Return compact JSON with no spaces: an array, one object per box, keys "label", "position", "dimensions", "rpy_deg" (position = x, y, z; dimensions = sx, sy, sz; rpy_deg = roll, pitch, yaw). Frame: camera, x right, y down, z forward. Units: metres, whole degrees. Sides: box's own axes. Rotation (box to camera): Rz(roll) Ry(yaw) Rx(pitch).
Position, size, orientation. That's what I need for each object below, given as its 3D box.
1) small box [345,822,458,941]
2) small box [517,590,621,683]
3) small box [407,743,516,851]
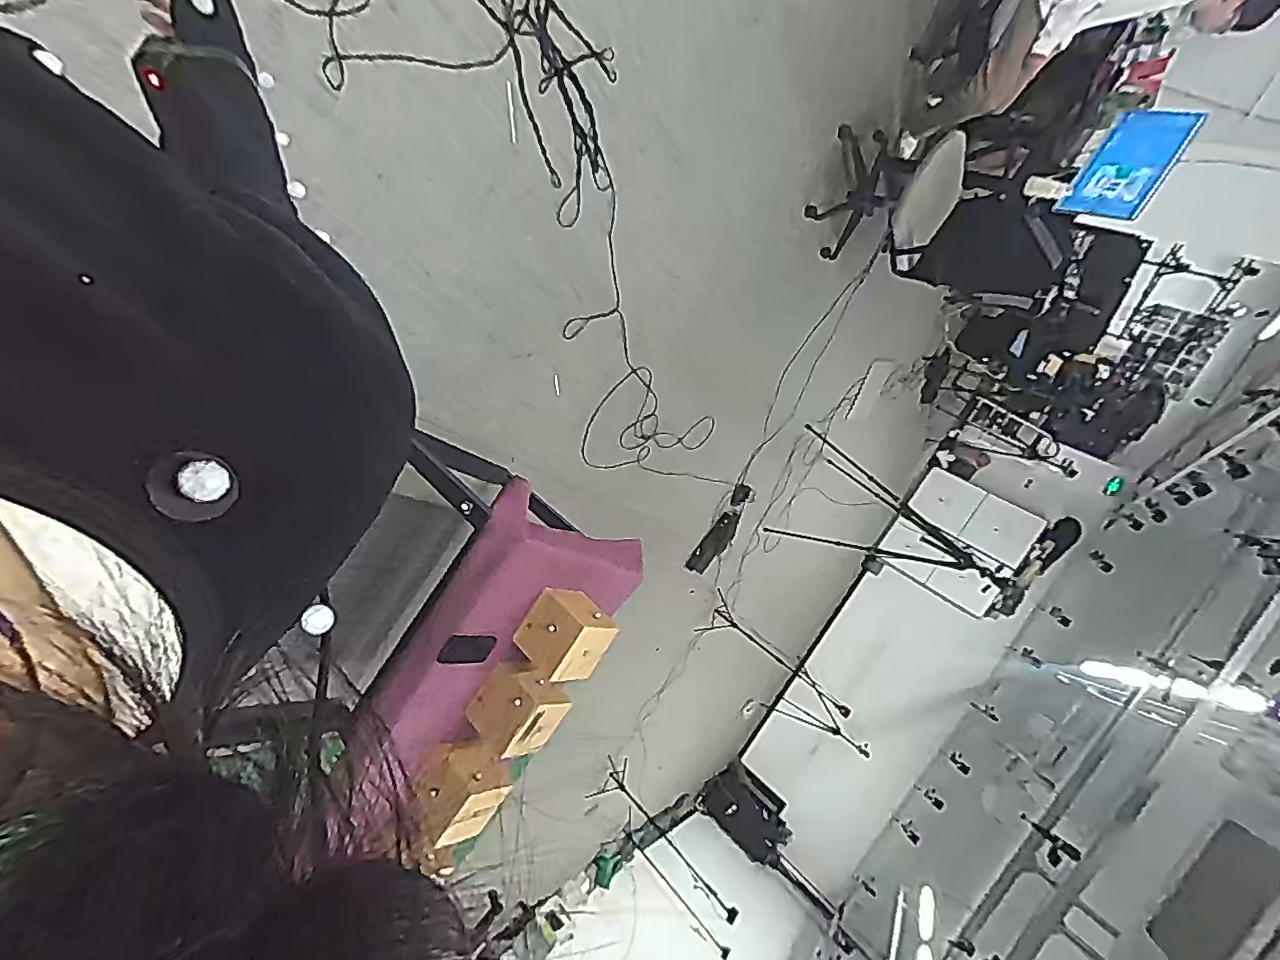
[{"label":"small box","position":[-0.622,1.032,1.413],"dimensions":[0.168,0.176,0.179],"rpy_deg":[-54,148,-4]},{"label":"small box","position":[-0.190,0.406,1.419],"dimensions":[0.168,0.176,0.179],"rpy_deg":[-58,149,3]},{"label":"small box","position":[-0.471,0.820,1.419],"dimensions":[0.168,0.176,0.179],"rpy_deg":[-54,148,-2]}]
